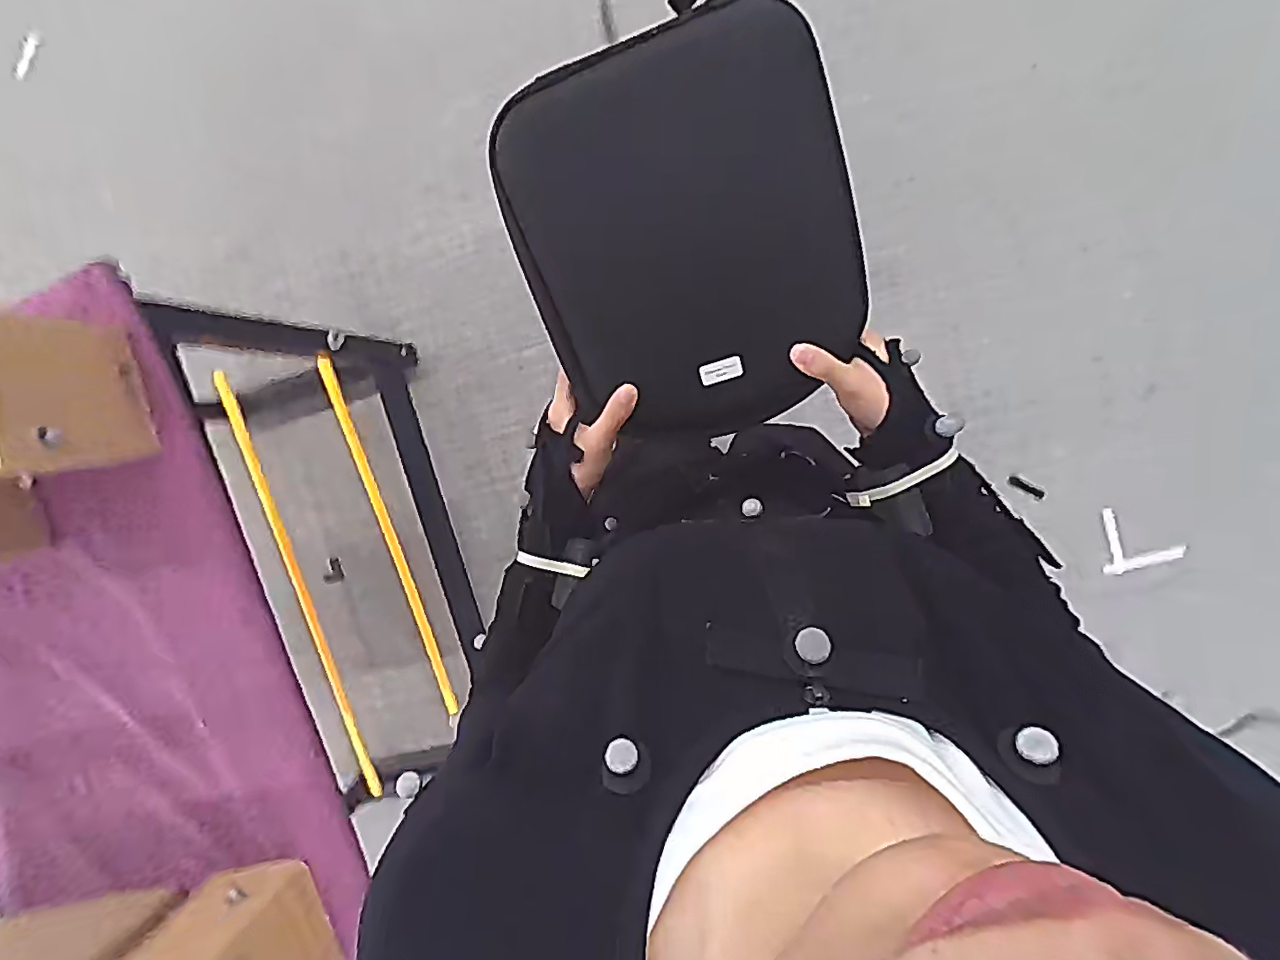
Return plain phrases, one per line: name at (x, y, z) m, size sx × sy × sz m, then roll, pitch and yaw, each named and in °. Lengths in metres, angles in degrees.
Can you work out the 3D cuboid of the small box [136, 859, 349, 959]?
small box at (-0.538, 0.667, 0.734) m, size 0.168 × 0.176 × 0.179 m, roll -17°, pitch 95°, yaw 10°
